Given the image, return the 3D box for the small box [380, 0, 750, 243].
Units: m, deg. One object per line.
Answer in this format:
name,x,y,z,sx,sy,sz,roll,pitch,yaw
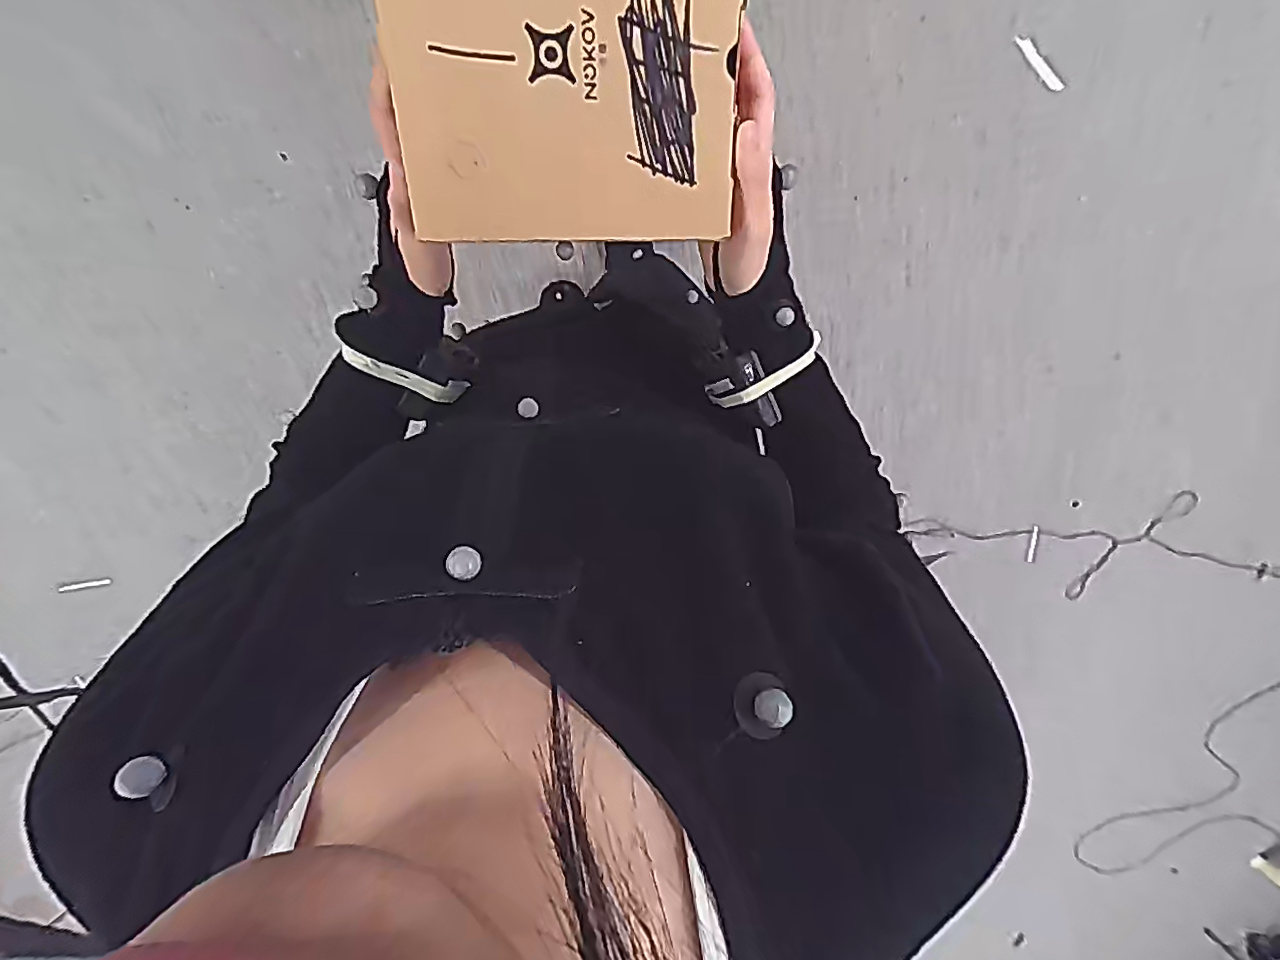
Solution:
small box,-0.043,-0.243,0.334,0.179,0.176,0.168,-3,117,-6
